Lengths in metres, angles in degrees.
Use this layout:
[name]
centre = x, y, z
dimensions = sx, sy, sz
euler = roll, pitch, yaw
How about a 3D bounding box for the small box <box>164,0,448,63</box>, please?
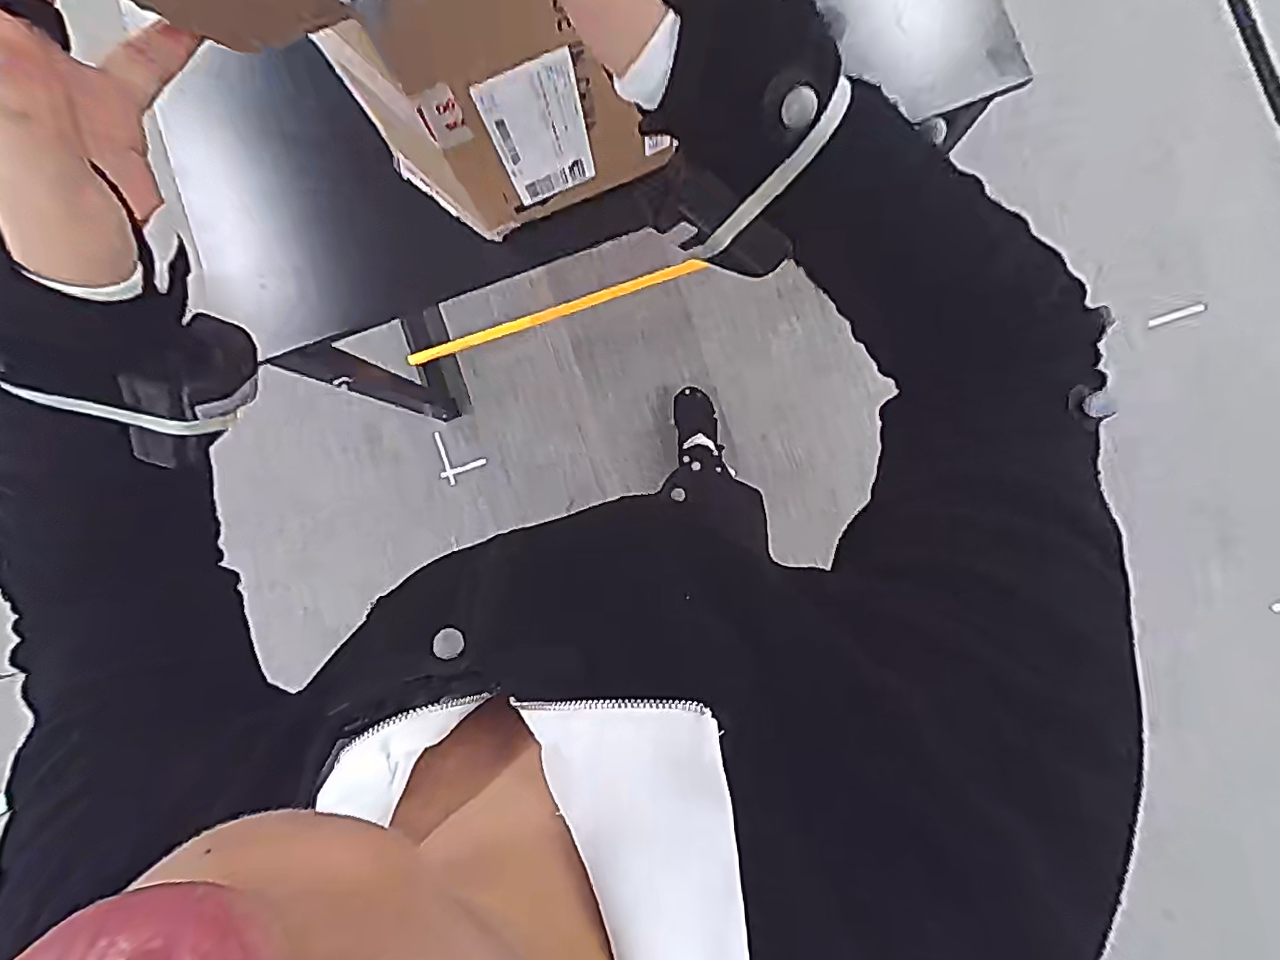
[small box]
centre = -0.130, -0.265, 0.155
dimensions = 0.168, 0.176, 0.179
euler = -19, 118, 4
